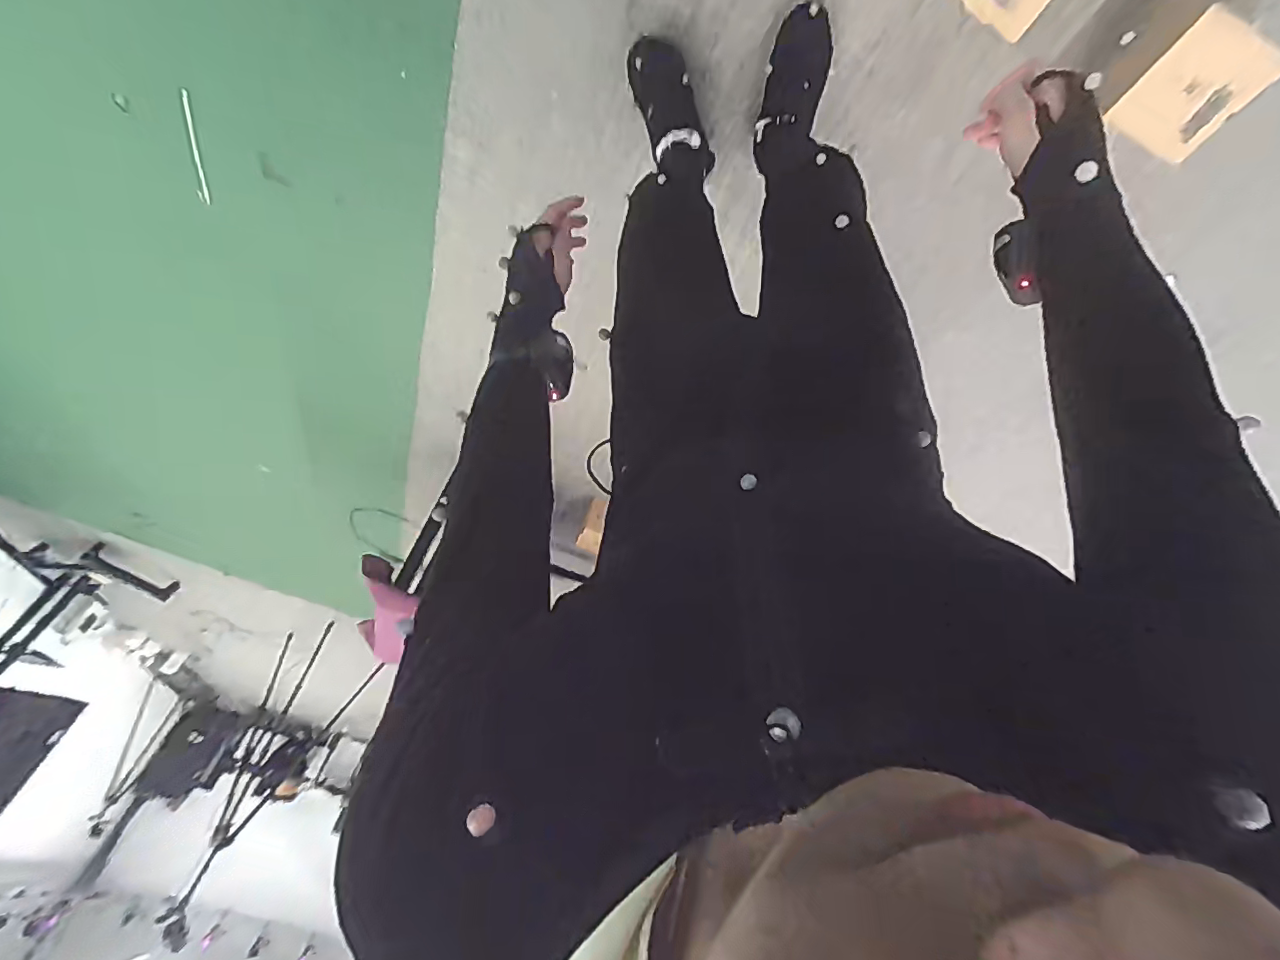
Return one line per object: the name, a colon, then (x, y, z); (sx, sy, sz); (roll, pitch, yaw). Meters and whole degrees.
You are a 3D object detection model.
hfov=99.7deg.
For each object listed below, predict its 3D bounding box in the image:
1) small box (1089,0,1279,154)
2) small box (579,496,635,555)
small box: (0.908, -0.690, 0.895); (0.179, 0.176, 0.168); (23, 141, -10)
small box: (-0.139, 0.192, 2.325); (0.179, 0.176, 0.168); (23, 142, -11)
